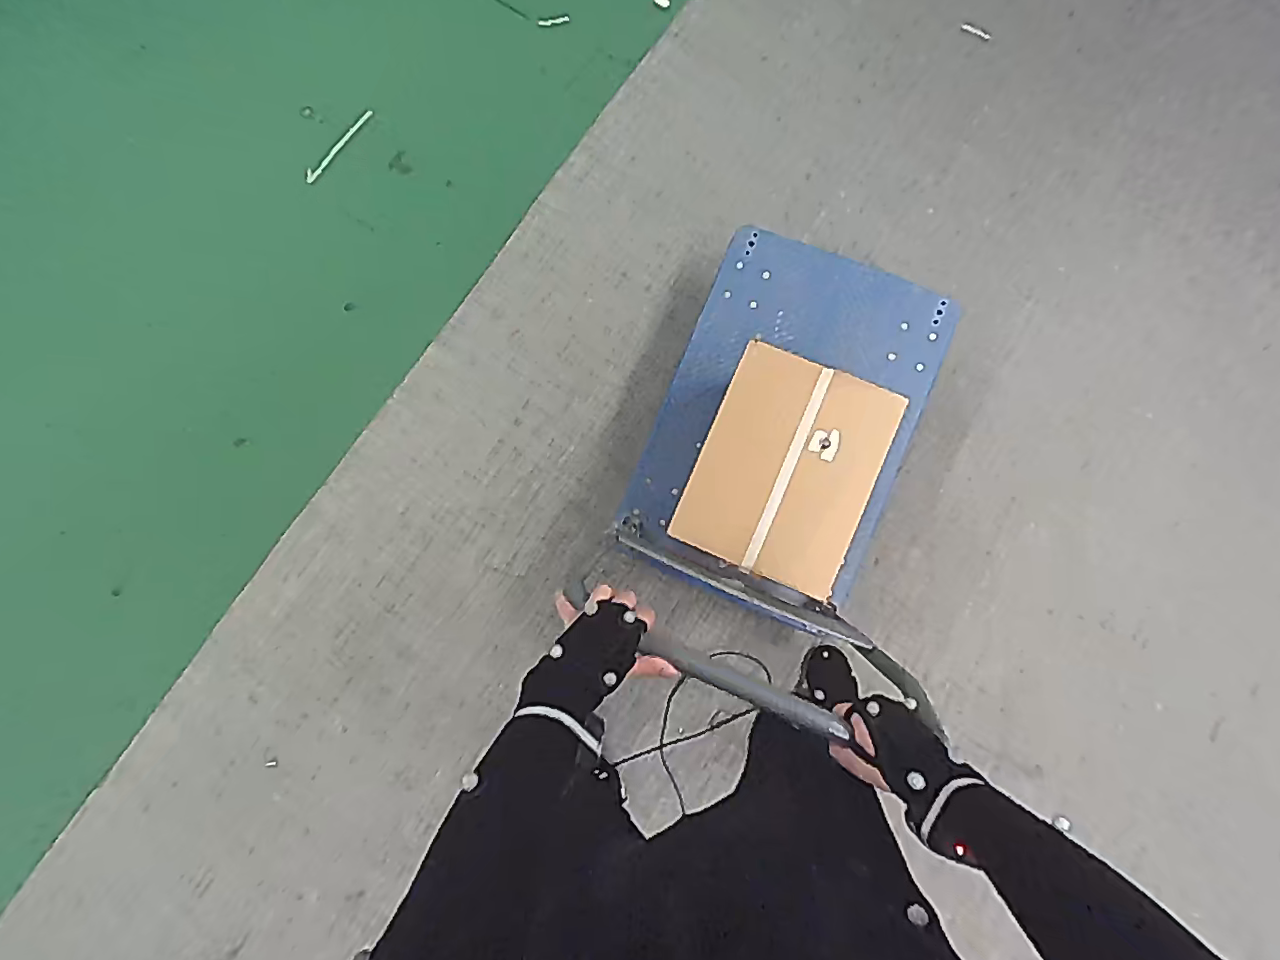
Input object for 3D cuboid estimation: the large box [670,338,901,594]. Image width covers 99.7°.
[{"bbox_3d":[0.279,-0.017,1.144,0.320,0.320,0.408,23,87,5],"label":"large box"}]
